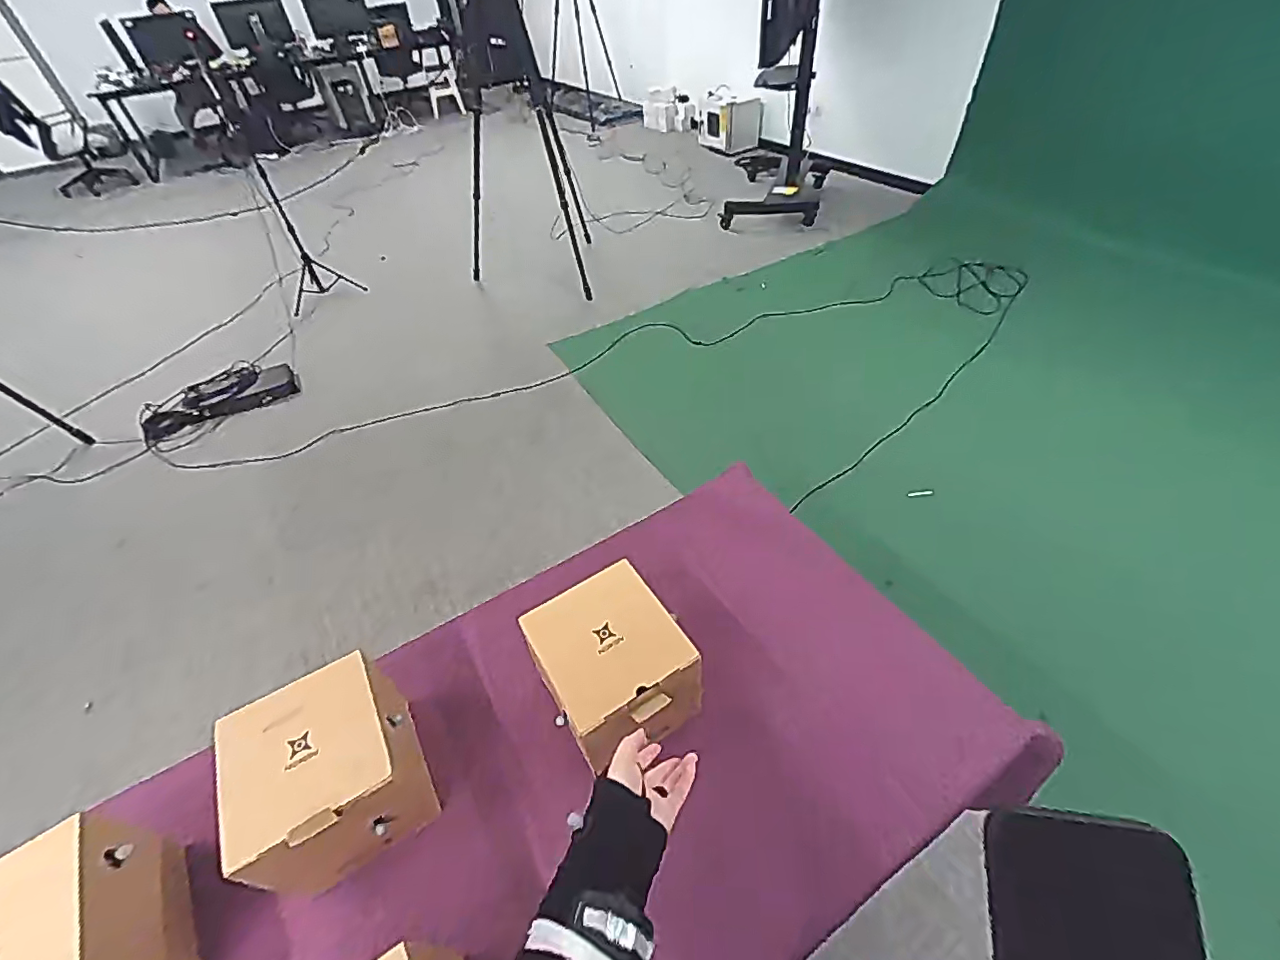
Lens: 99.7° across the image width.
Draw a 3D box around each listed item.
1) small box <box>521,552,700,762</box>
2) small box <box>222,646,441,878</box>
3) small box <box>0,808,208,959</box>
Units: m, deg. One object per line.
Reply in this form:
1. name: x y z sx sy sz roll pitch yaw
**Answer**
1. small box: -0.036 0.237 0.727 0.168 0.176 0.179 -28 51 -19
2. small box: -0.365 0.346 0.658 0.168 0.176 0.179 -26 50 -19
3. small box: -0.584 0.485 0.548 0.168 0.176 0.179 -32 52 -22
